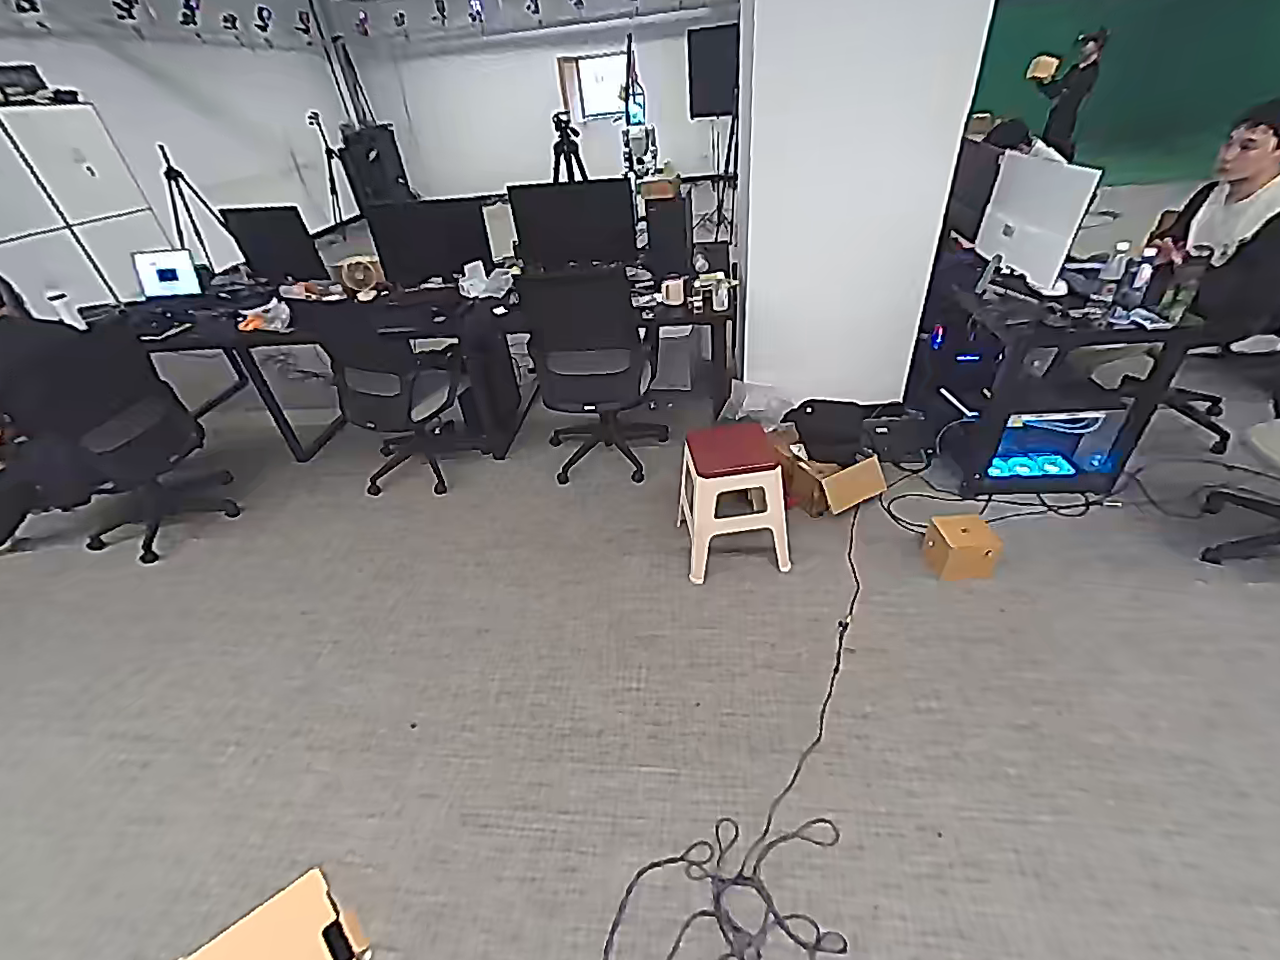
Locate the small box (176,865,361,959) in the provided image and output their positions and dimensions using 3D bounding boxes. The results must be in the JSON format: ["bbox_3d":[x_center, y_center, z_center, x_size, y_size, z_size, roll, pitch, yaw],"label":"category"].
[{"bbox_3d":[-0.379,0.555,0.548,0.179,0.176,0.168,-22,51,-41],"label":"small box"}]
